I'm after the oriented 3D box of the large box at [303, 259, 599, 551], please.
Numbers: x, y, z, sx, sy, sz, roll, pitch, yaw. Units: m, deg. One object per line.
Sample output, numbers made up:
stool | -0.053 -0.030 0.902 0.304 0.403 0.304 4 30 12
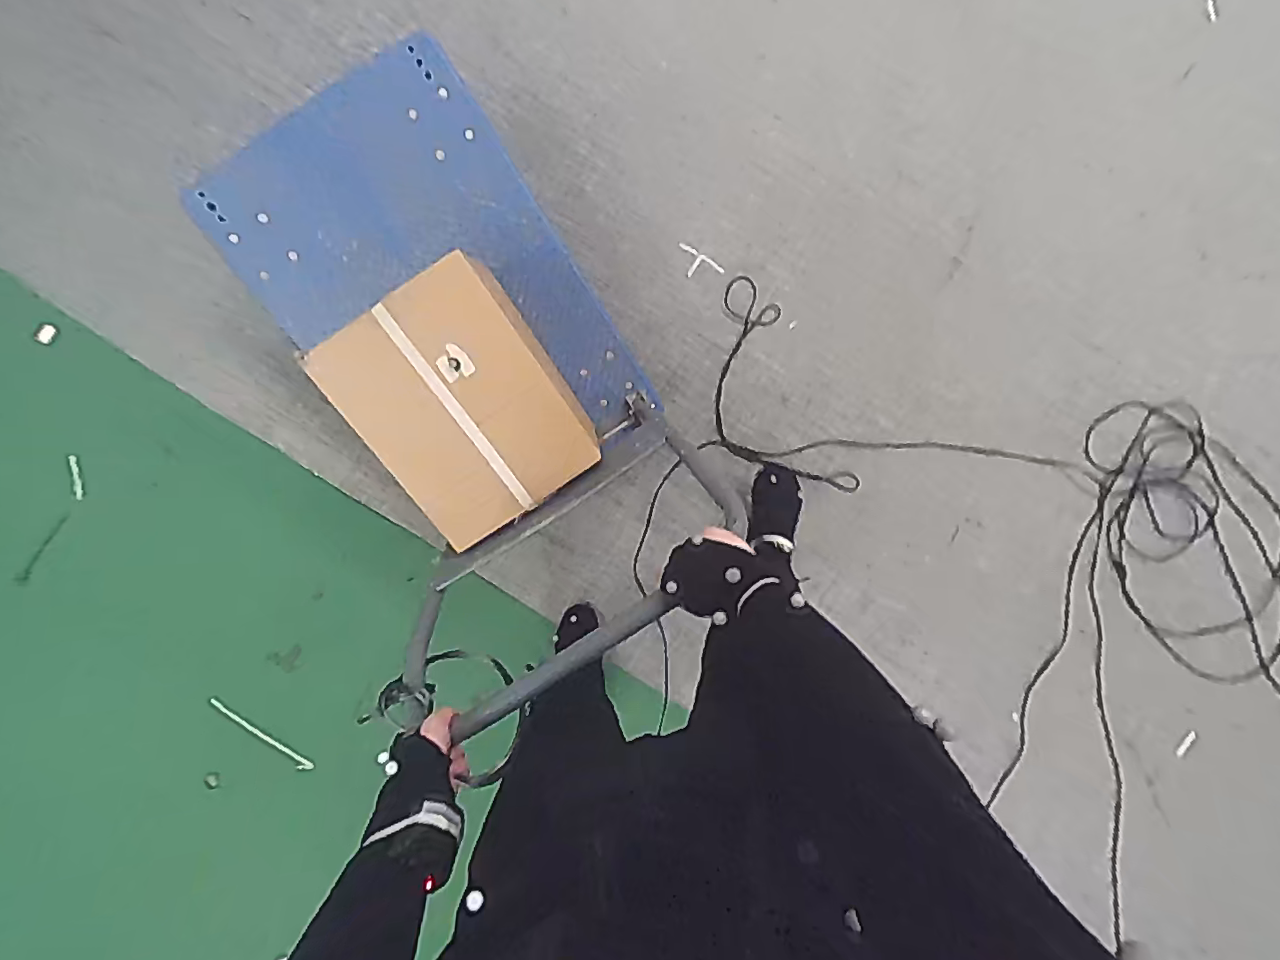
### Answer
large box | -0.318 -0.146 1.044 0.320 0.320 0.408 -33 107 2
